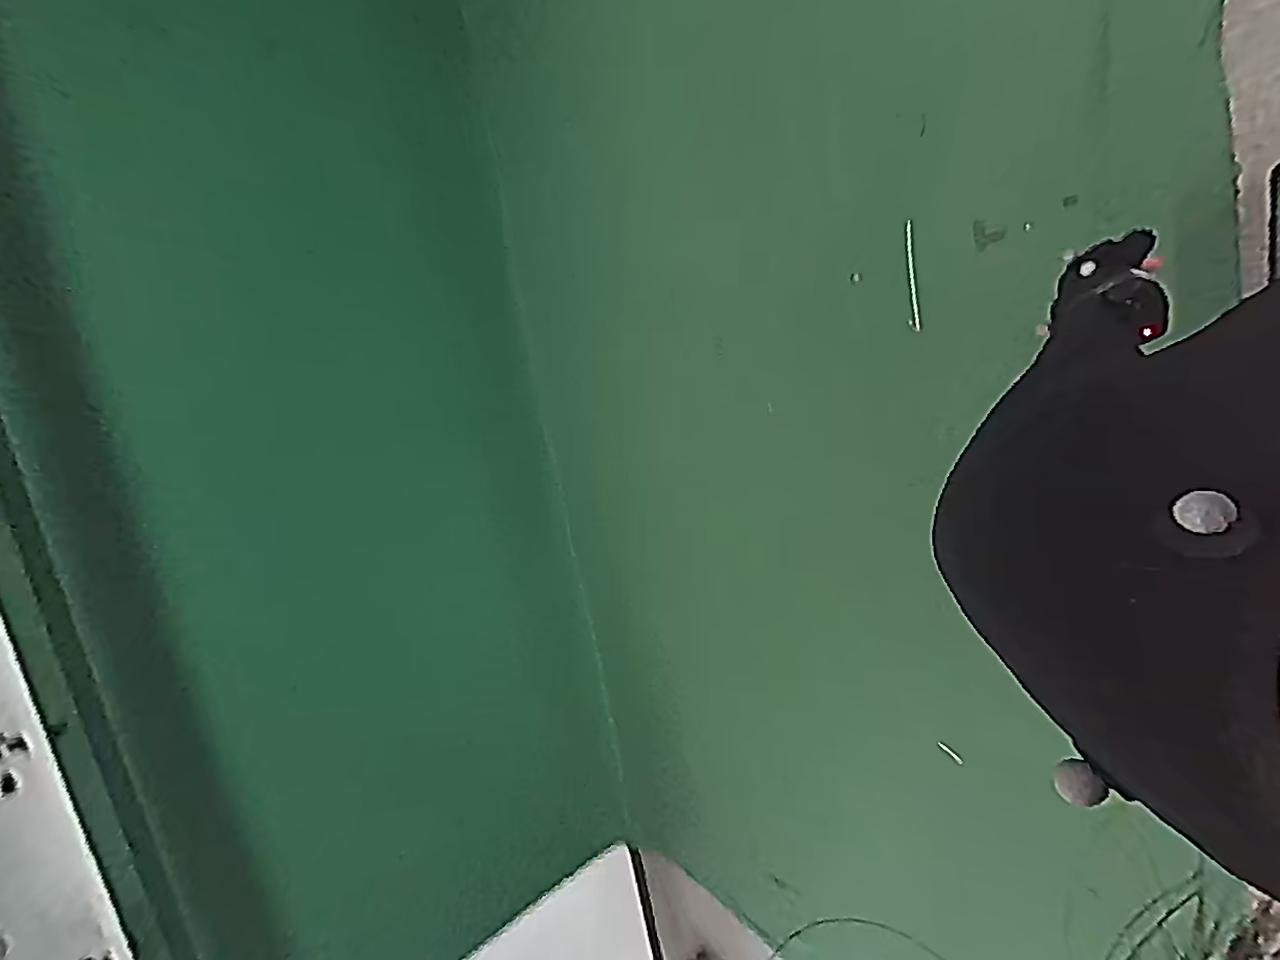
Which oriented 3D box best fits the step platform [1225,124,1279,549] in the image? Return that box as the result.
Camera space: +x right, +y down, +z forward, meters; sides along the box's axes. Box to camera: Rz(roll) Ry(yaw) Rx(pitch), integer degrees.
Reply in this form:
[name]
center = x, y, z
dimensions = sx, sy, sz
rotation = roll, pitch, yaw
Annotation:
[step platform]
center = 1.136, -0.229, 0.837
dimensions = 0.286, 0.204, 0.684
rotation = -1, 105, 52
